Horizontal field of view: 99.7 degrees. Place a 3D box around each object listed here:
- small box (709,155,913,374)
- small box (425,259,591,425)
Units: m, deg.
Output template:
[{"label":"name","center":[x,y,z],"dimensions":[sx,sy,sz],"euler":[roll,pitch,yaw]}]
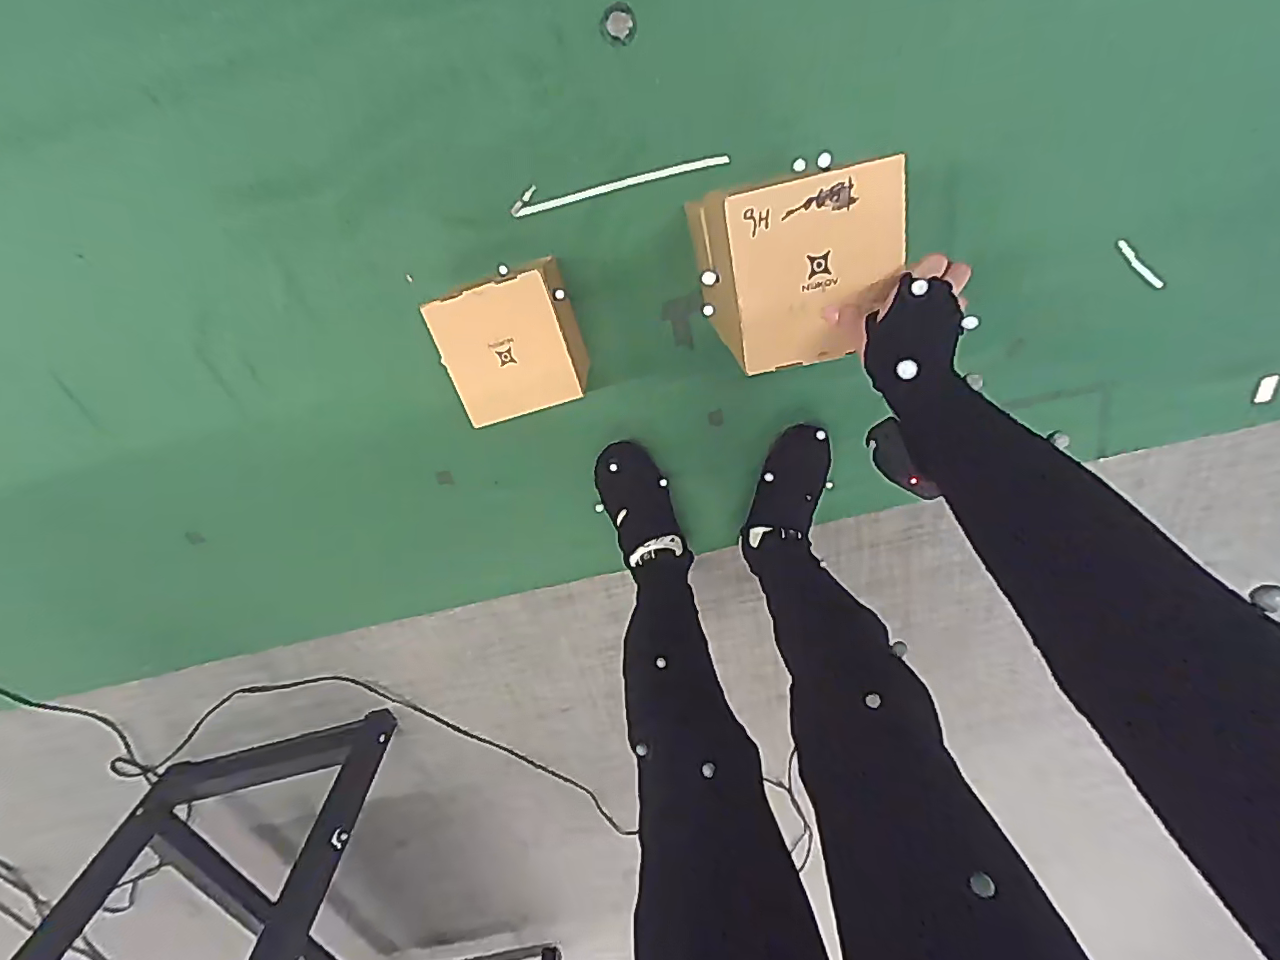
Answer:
[{"label":"small box","center":[0.176,-0.239,0.592],"dimensions":[0.168,0.176,0.179],"euler":[-11,118,5]},{"label":"small box","center":[-0.175,-0.205,0.785],"dimensions":[0.168,0.176,0.179],"euler":[-15,116,6]}]
